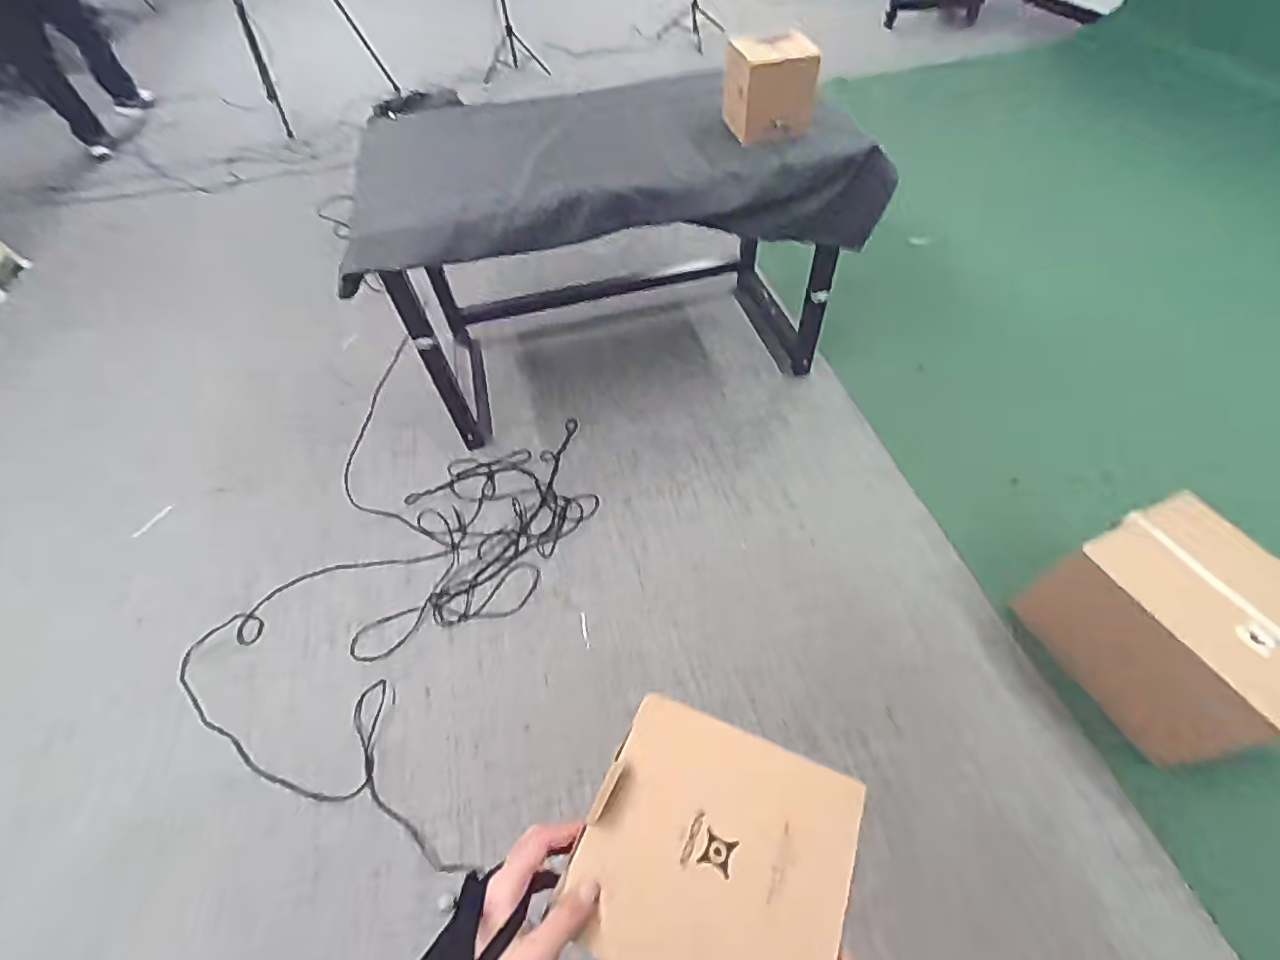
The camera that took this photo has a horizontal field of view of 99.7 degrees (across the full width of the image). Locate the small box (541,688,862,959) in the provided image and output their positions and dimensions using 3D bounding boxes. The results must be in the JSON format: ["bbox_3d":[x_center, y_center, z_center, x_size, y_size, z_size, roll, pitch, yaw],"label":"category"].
[{"bbox_3d":[0.051,0.299,0.418,0.179,0.176,0.168,15,49,19],"label":"small box"}]
